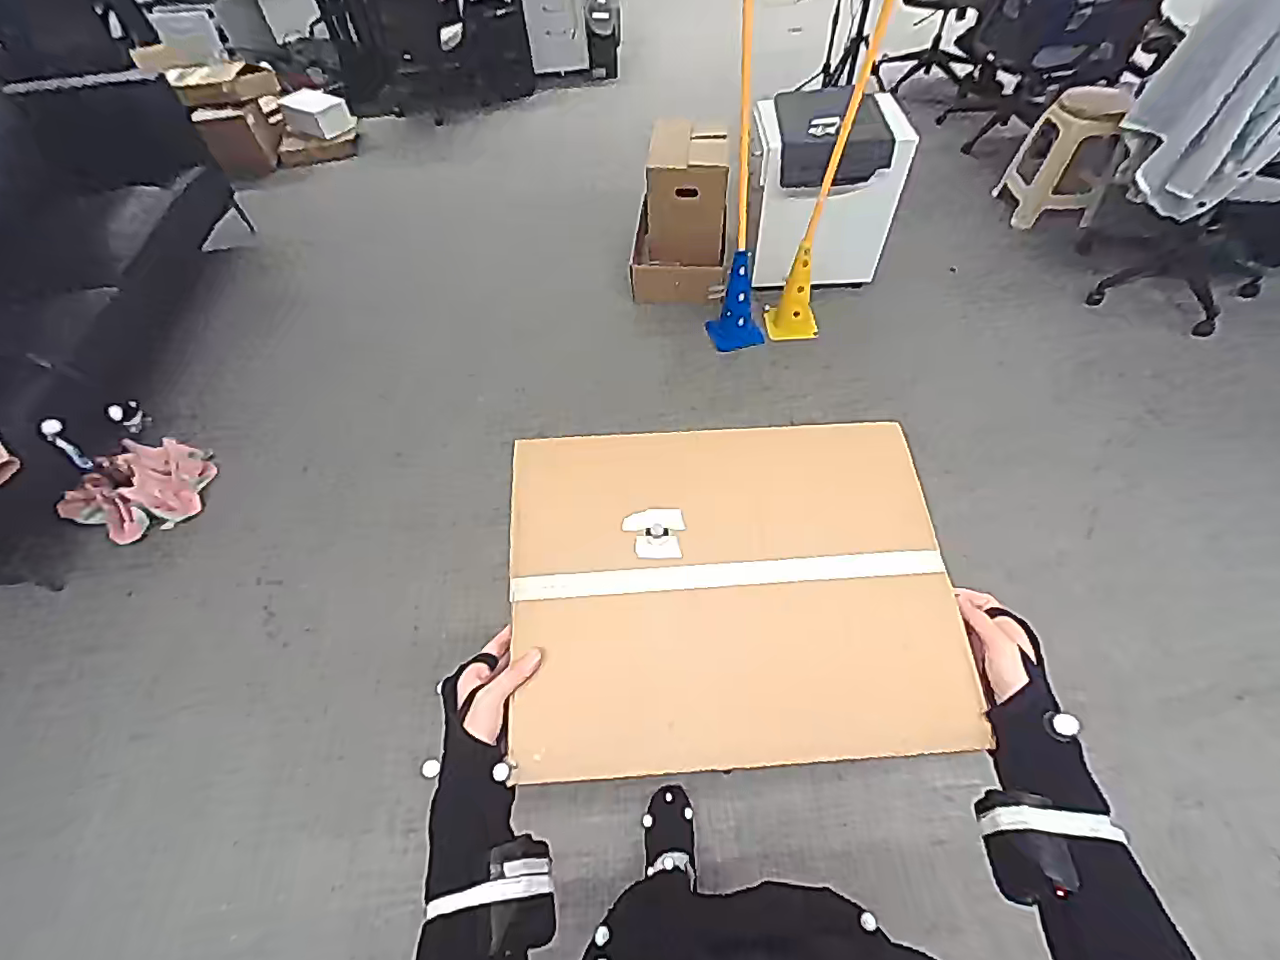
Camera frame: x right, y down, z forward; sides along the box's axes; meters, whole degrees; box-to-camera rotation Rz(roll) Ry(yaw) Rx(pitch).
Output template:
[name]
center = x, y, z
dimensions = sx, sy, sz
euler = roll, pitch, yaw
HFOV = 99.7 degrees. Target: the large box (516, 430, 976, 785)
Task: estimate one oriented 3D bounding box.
[large box]
center = 0.084, 0.159, 0.653
dimensions = 0.408, 0.320, 0.320
euler = -4, 65, -1
